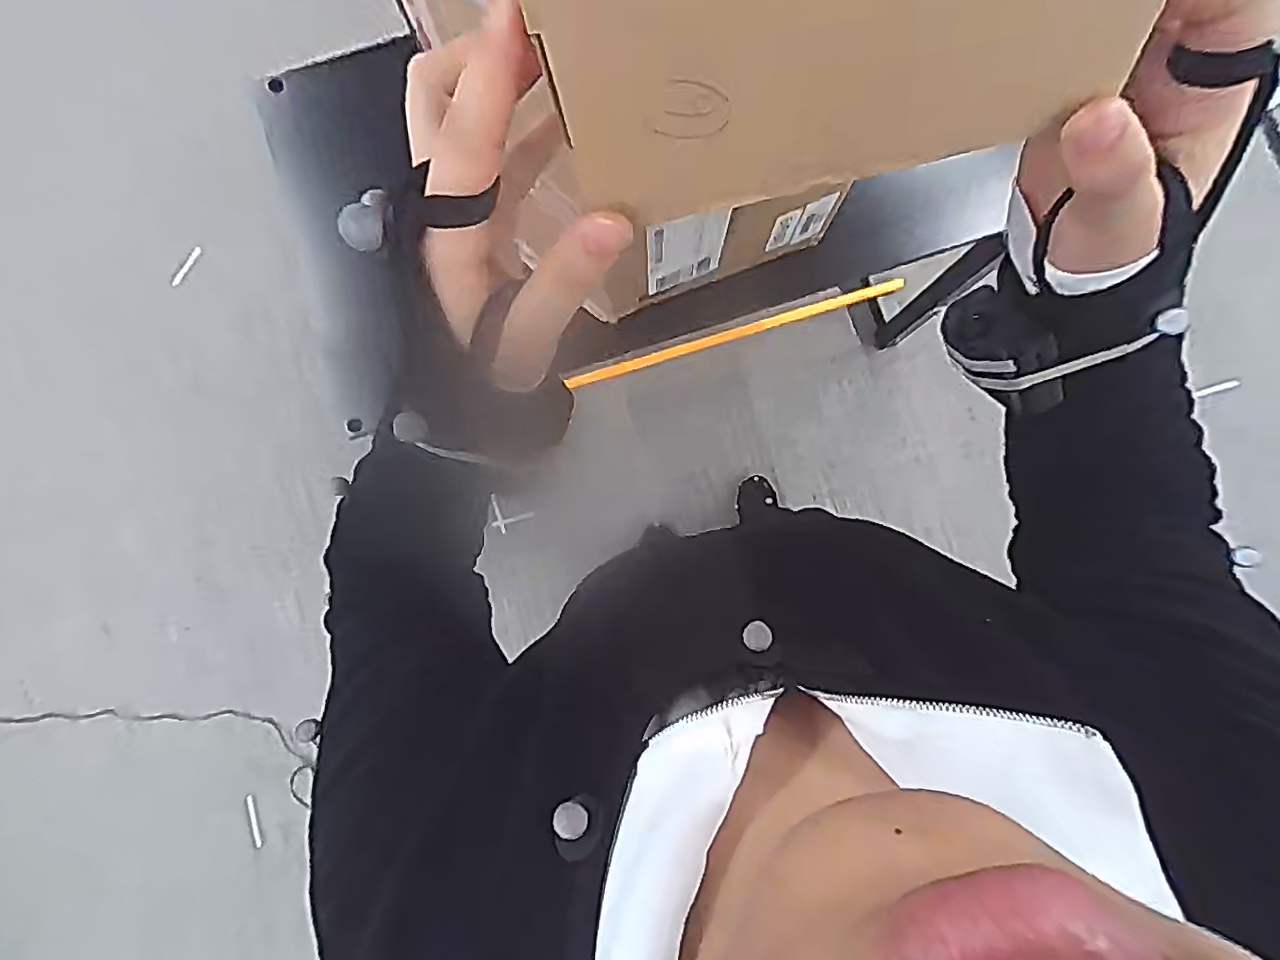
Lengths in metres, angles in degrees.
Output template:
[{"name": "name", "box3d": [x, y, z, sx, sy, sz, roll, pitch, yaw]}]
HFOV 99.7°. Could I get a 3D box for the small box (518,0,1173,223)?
[{"name": "small box", "box3d": [0.045, -0.212, 0.158, 0.179, 0.168, 0.176, -10, 57, 6]}]
